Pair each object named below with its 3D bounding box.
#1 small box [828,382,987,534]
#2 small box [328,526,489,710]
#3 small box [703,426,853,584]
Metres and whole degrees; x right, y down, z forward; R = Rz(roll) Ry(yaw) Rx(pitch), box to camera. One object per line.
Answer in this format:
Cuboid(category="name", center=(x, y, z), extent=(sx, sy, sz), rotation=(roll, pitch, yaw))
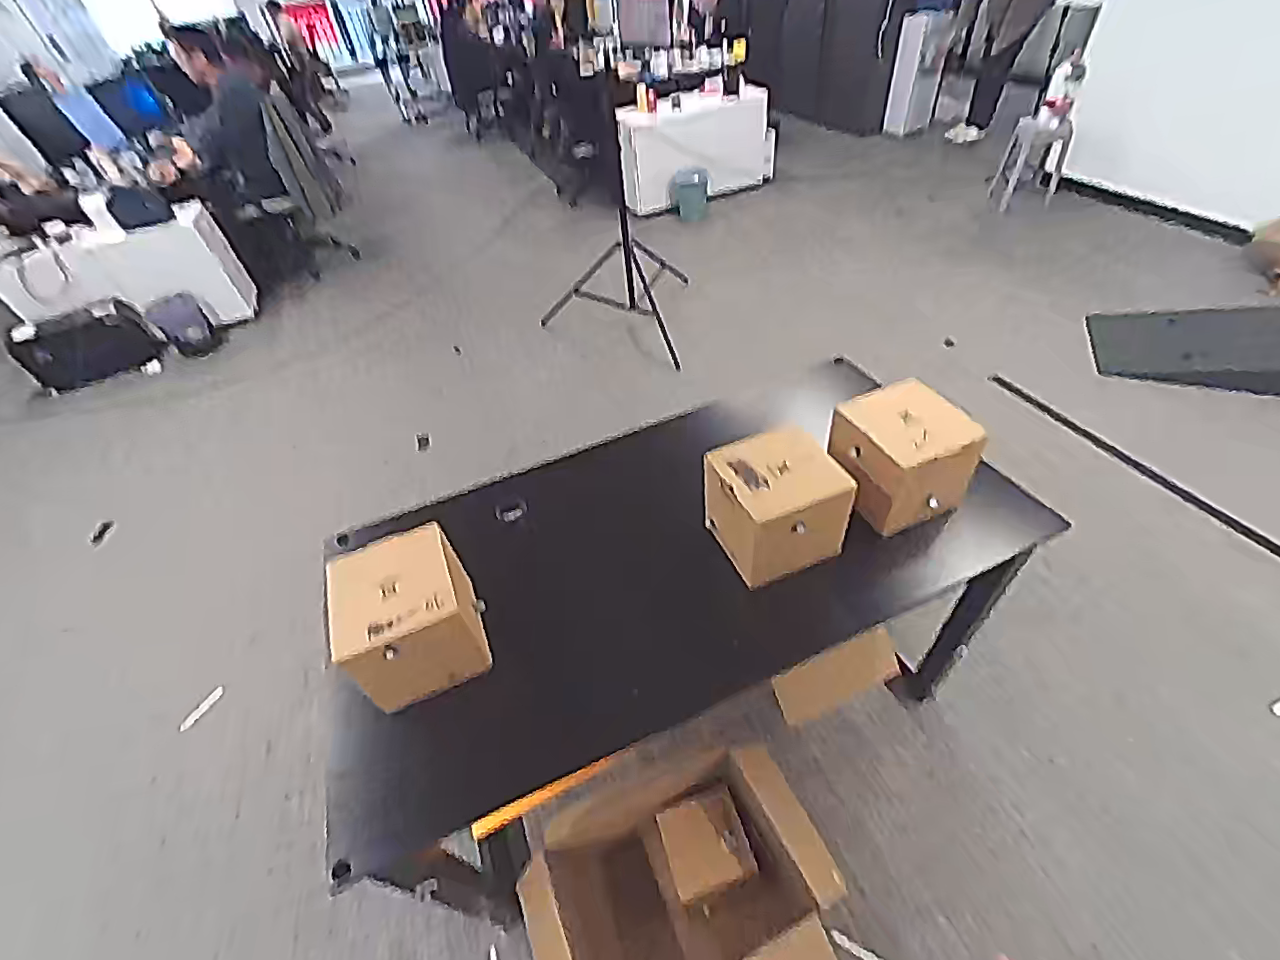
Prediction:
Cuboid(category="small box", center=(0.446, -0.037, 0.941), extent=(0.168, 0.176, 0.179), rotation=(-20, 46, -10))
Cuboid(category="small box", center=(-0.343, 0.206, 0.812), extent=(0.168, 0.176, 0.179), rotation=(-21, 46, -13))
Cuboid(category="small box", center=(0.219, 0.045, 0.894), extent=(0.179, 0.176, 0.168), rotation=(-19, 46, -12))
